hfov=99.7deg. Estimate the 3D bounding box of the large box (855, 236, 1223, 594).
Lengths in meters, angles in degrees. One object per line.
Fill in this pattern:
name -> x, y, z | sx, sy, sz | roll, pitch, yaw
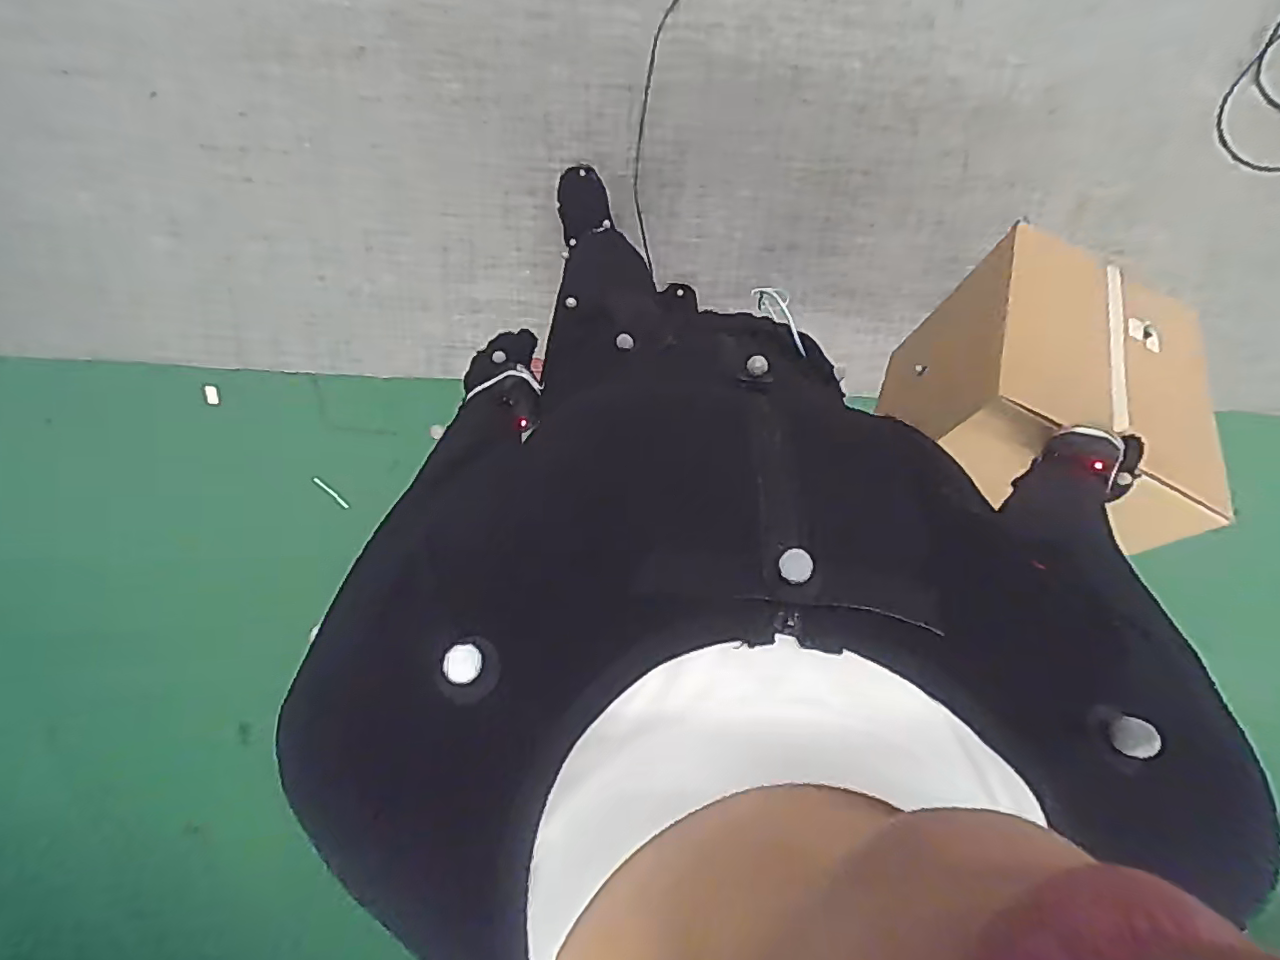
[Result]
large box -> 0.593, -0.094, 0.865 | 0.320, 0.408, 0.320 | 29, 148, 0
